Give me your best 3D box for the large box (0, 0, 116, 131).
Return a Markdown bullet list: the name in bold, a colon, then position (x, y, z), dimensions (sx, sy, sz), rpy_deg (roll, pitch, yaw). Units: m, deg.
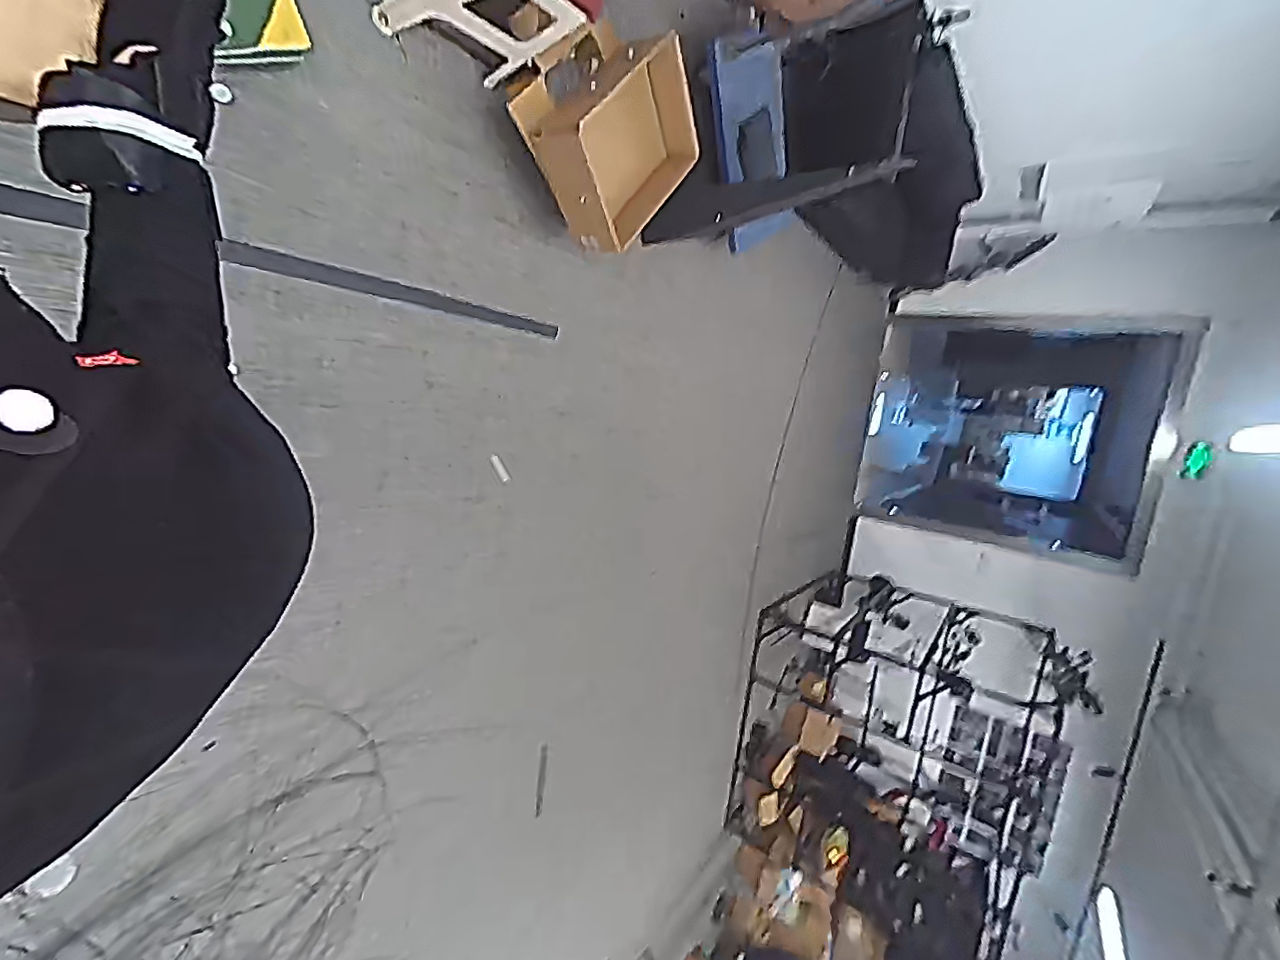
- **large box**: position (-0.589, -0.432, 0.272), dimensions (0.408, 0.320, 0.320), rpy_deg (-10, 120, -57)
